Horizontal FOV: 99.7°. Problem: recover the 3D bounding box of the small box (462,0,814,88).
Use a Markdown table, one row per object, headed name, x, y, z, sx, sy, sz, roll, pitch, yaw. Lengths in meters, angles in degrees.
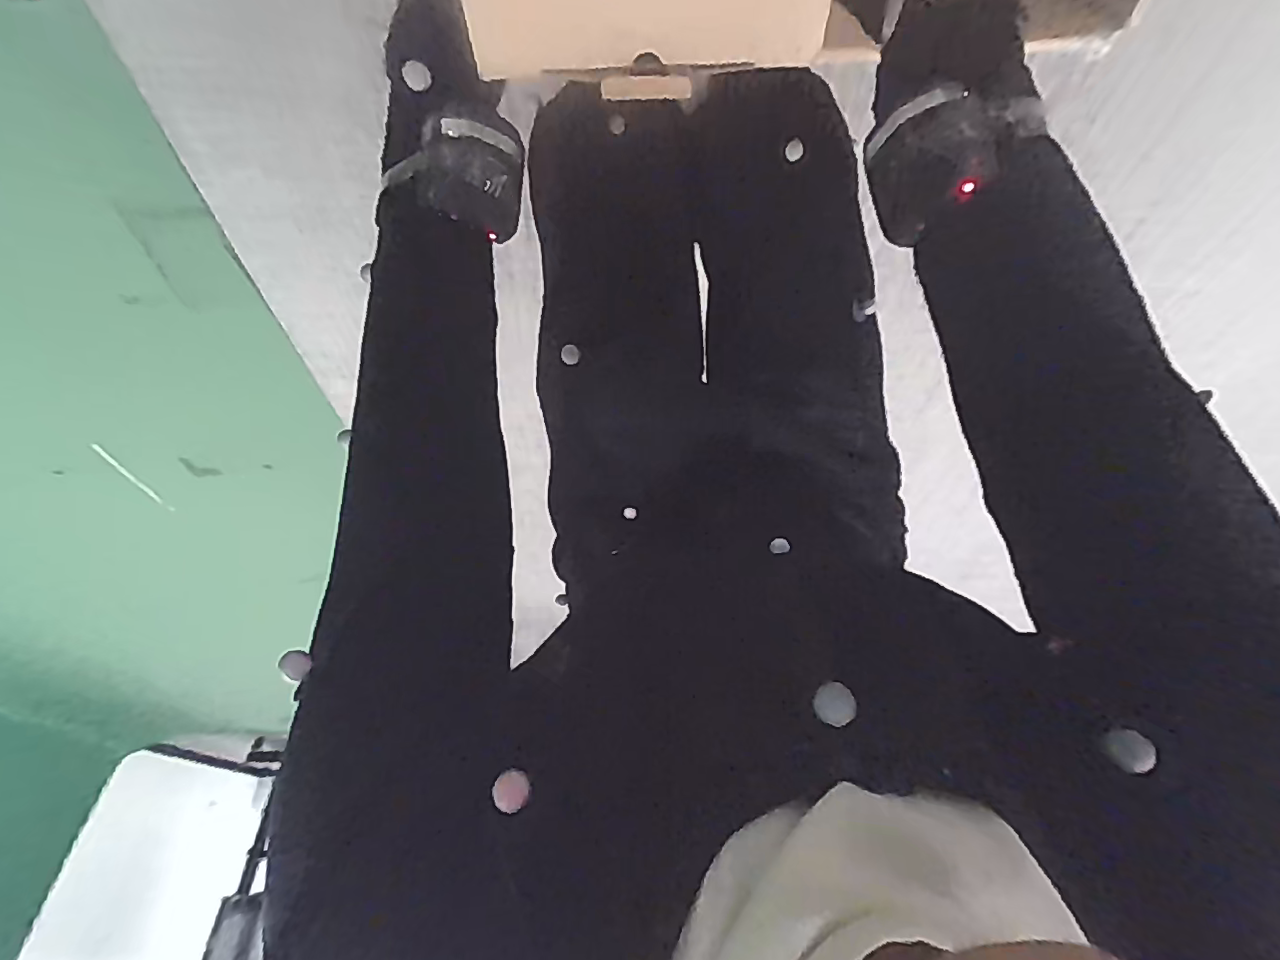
| name | x | y | z | sx | sy | sz | roll | pitch | yaw |
| --- | --- | --- | --- | --- | --- | --- | --- | --- | --- |
| small box | -0.001 | -0.317 | 0.250 | 0.168 | 0.176 | 0.179 | -1 | 144 | 2 |
